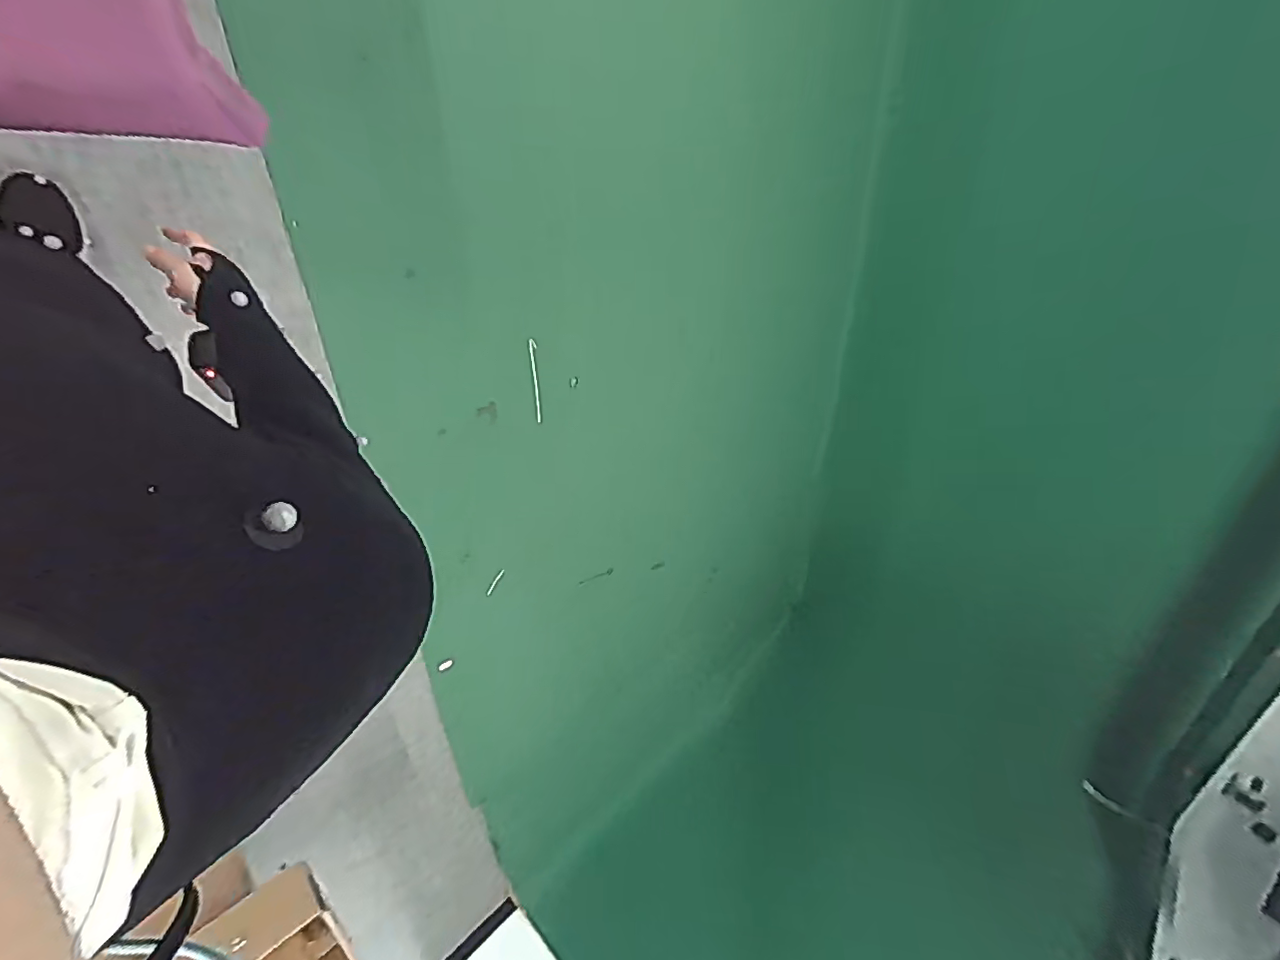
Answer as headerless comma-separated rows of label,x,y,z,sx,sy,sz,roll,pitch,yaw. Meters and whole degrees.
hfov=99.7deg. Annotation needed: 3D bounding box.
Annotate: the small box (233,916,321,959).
small box,-0.963,1.327,1.439,0.179,0.176,0.168,-26,127,-35
